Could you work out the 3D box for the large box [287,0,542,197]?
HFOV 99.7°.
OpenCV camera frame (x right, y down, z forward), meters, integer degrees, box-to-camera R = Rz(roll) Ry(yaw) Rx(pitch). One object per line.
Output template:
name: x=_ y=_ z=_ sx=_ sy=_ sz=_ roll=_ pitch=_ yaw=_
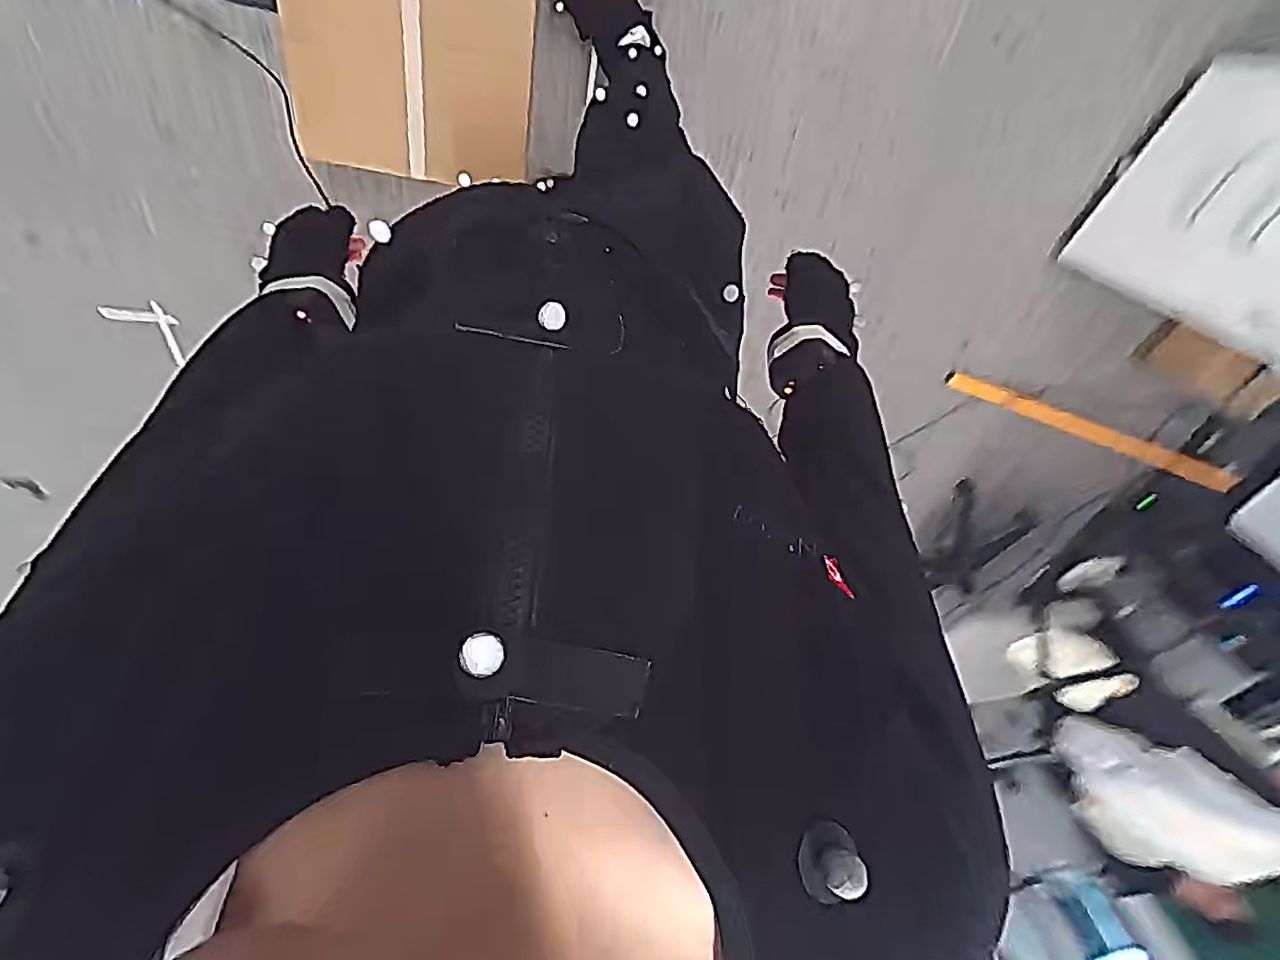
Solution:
large box: x=-0.310 y=-0.701 z=0.805 sx=0.320 sy=0.320 sz=0.408 roll=4 pitch=129 yaw=-14
